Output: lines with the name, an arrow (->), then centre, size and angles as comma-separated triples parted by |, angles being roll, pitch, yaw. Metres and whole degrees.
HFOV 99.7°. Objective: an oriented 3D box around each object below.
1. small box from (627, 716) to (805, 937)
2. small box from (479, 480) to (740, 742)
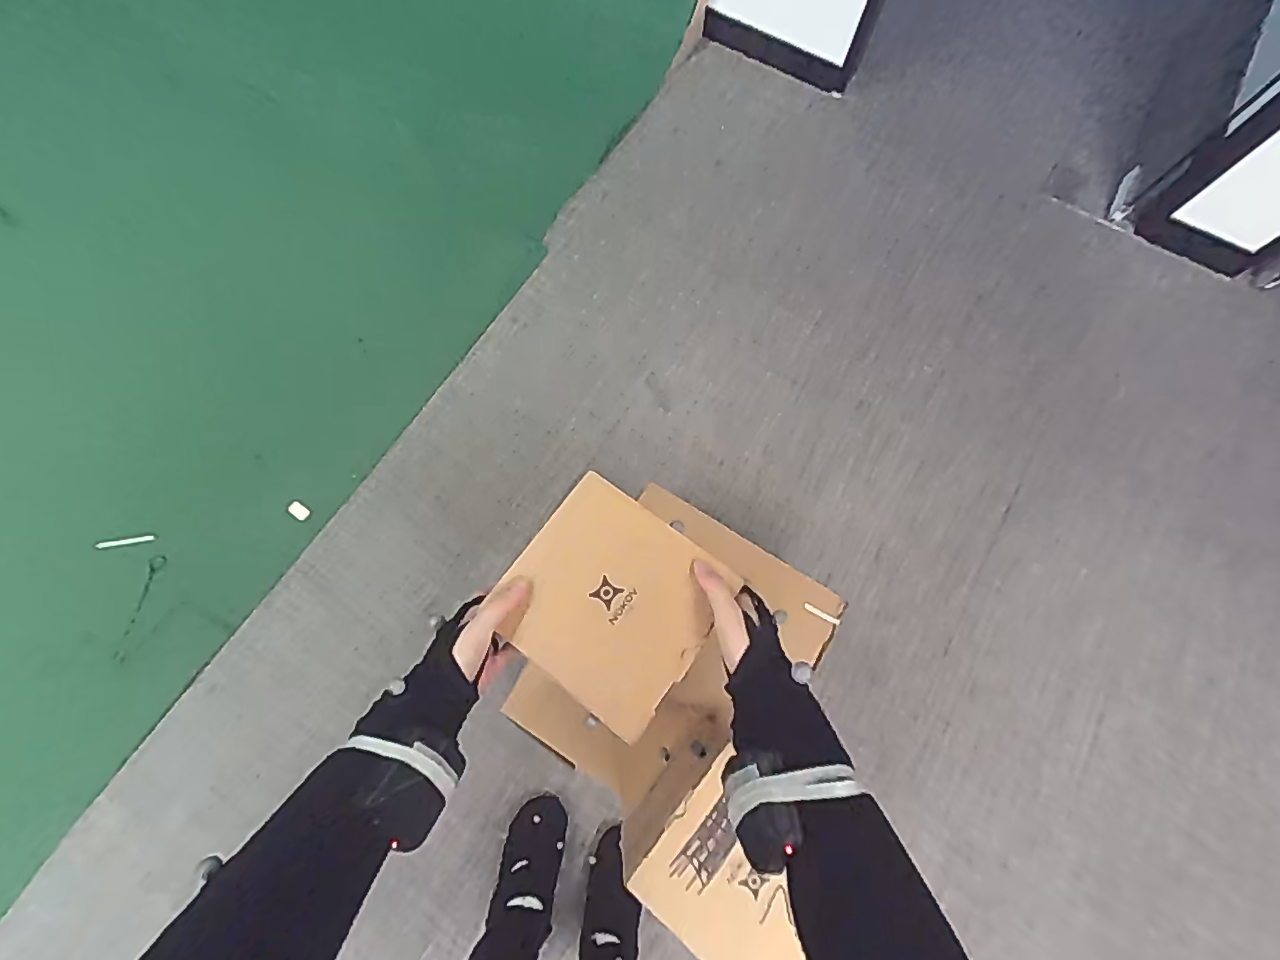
small box -> 0.091, 0.453, 0.748 | 0.168, 0.176, 0.179 | 35, 74, 8
small box -> -0.027, 0.133, 0.551 | 0.179, 0.176, 0.168 | 35, 75, 10
